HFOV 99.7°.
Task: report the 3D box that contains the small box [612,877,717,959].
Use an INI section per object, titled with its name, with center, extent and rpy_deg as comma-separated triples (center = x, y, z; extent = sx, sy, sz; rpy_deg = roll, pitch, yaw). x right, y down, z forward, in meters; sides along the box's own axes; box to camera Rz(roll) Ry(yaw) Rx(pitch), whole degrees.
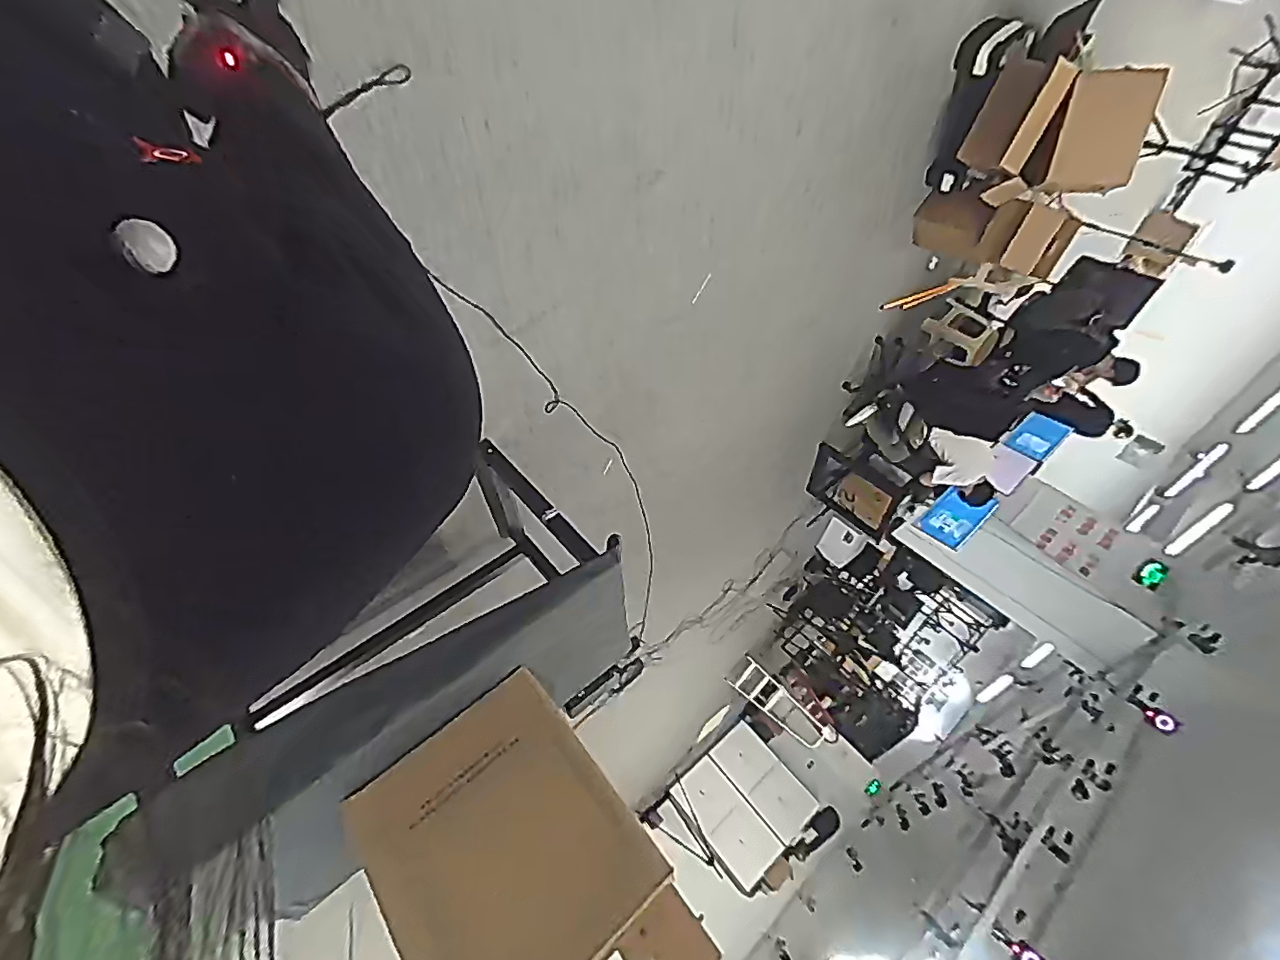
[small box]
center = 0.053, 1.025, 1.203
extent = 0.168, 0.176, 0.179
rpy_deg = -35, 146, -20
